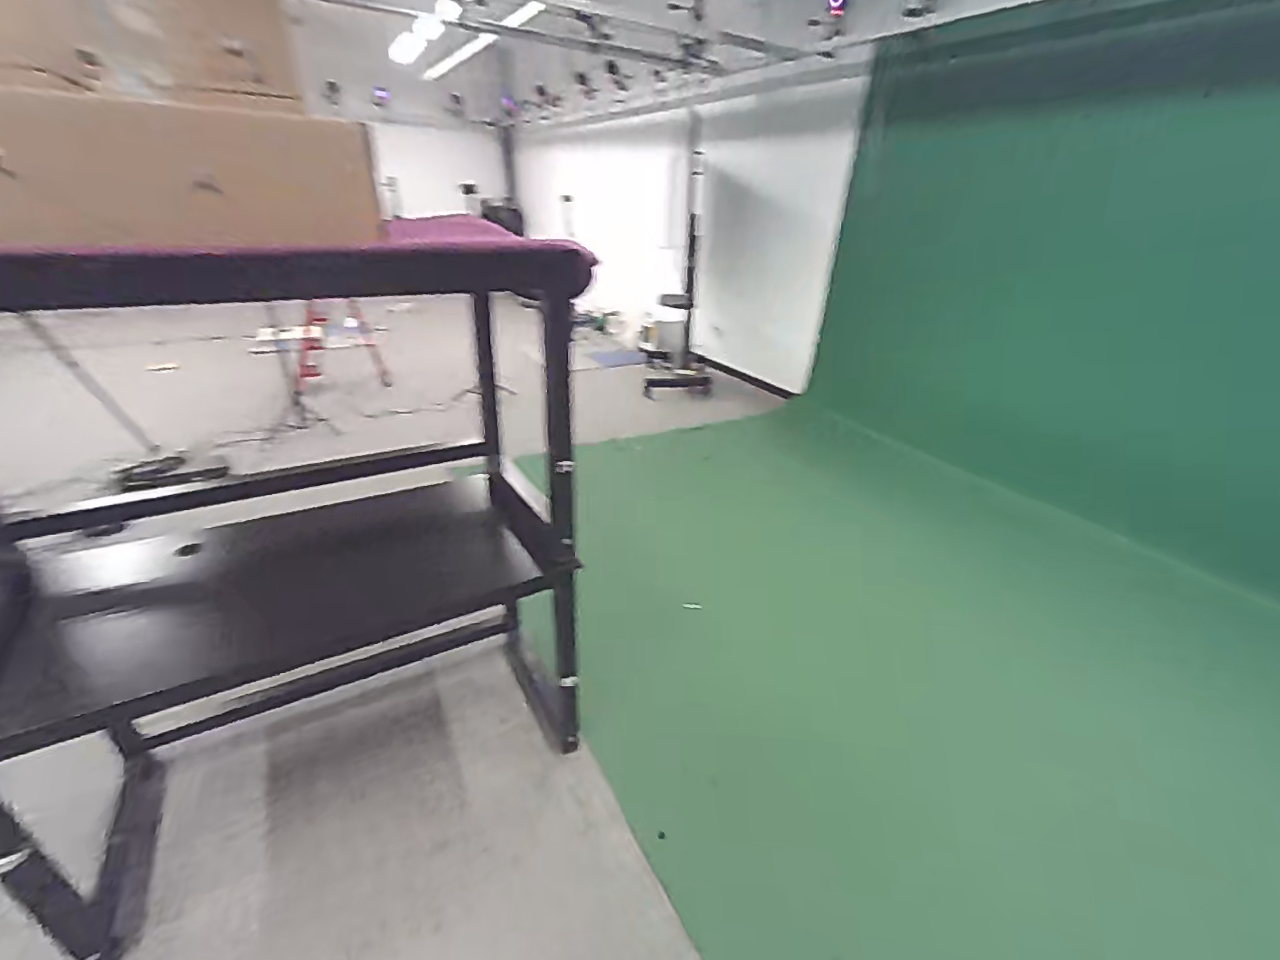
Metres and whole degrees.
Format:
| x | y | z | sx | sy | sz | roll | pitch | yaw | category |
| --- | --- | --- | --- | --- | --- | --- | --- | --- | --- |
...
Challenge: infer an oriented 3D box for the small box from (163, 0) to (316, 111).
| x | y | z | sx | sy | sz | roll | pitch | yaw | category |
| --- | --- | --- | --- | --- | --- | --- | --- | --- | --- |
| -0.627 | -0.692 | 0.853 | 0.168 | 0.176 | 0.179 | -13 | 31 | -25 | small box |
